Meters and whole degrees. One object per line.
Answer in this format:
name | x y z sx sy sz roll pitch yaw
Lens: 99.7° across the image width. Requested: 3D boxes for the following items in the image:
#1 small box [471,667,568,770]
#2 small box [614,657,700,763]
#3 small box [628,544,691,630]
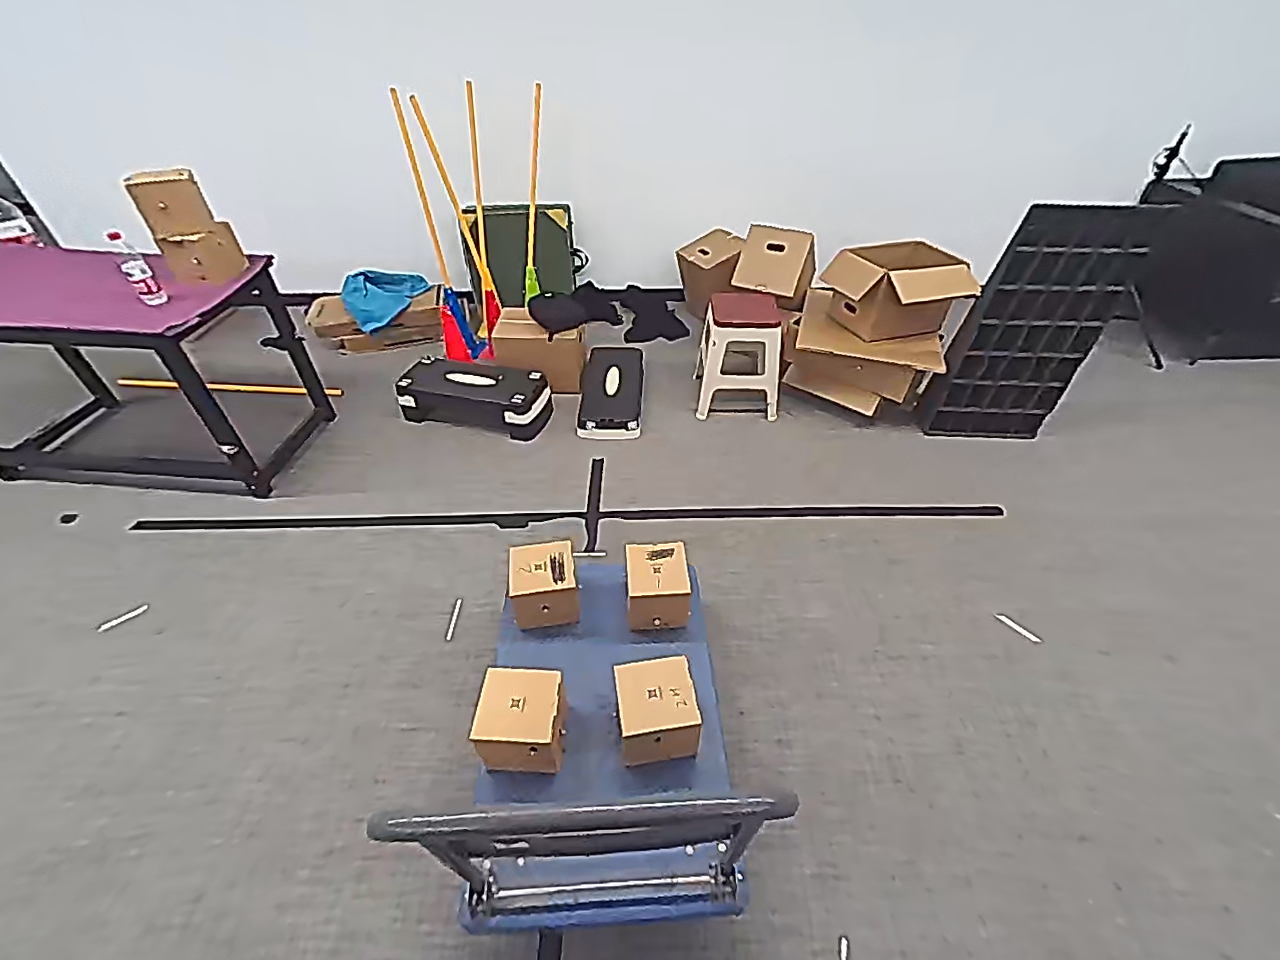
small box | -0.270 0.554 1.255 0.179 0.176 0.168 3 42 1
small box | 0.036 0.541 1.268 0.179 0.176 0.168 -6 43 -6
small box | 0.049 0.302 1.528 0.168 0.176 0.179 -2 44 -2
